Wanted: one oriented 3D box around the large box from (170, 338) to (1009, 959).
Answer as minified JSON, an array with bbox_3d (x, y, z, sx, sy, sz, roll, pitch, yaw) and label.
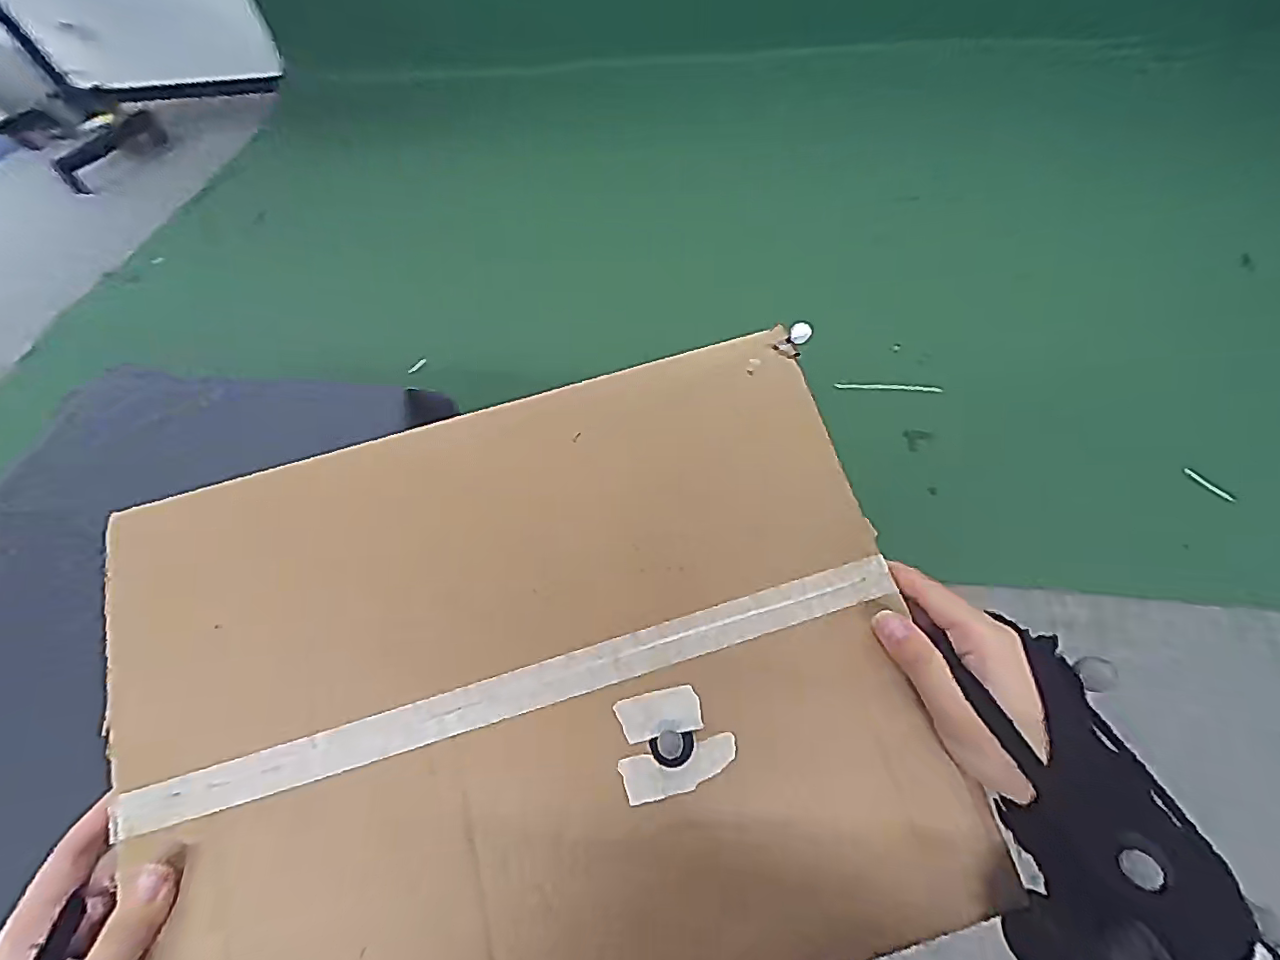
[{"bbox_3d":[-0.047,0.145,0.436,0.408,0.320,0.320,-16,75,-4],"label":"large box"}]
